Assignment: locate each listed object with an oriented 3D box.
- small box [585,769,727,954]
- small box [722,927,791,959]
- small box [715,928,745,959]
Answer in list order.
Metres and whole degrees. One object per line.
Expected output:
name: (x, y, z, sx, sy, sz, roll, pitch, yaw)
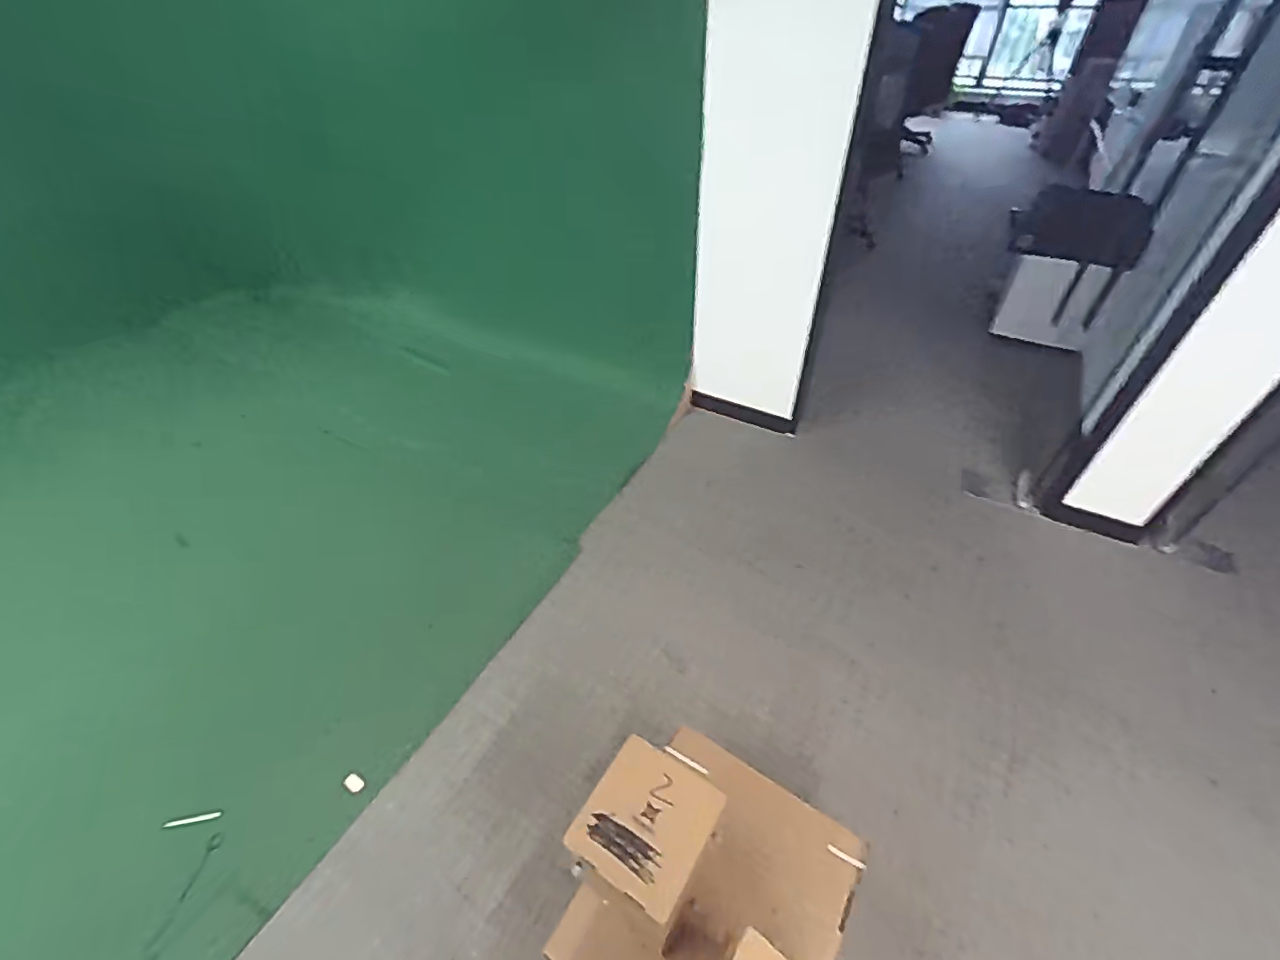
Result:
small box: (0.026, 0.642, 0.913, 0.168, 0.176, 0.179, 27, 49, 28)
small box: (0.152, 0.680, 0.633, 0.179, 0.176, 0.168, 29, 51, 27)
small box: (0.150, 0.788, 0.755, 0.168, 0.176, 0.179, 29, 50, 26)
